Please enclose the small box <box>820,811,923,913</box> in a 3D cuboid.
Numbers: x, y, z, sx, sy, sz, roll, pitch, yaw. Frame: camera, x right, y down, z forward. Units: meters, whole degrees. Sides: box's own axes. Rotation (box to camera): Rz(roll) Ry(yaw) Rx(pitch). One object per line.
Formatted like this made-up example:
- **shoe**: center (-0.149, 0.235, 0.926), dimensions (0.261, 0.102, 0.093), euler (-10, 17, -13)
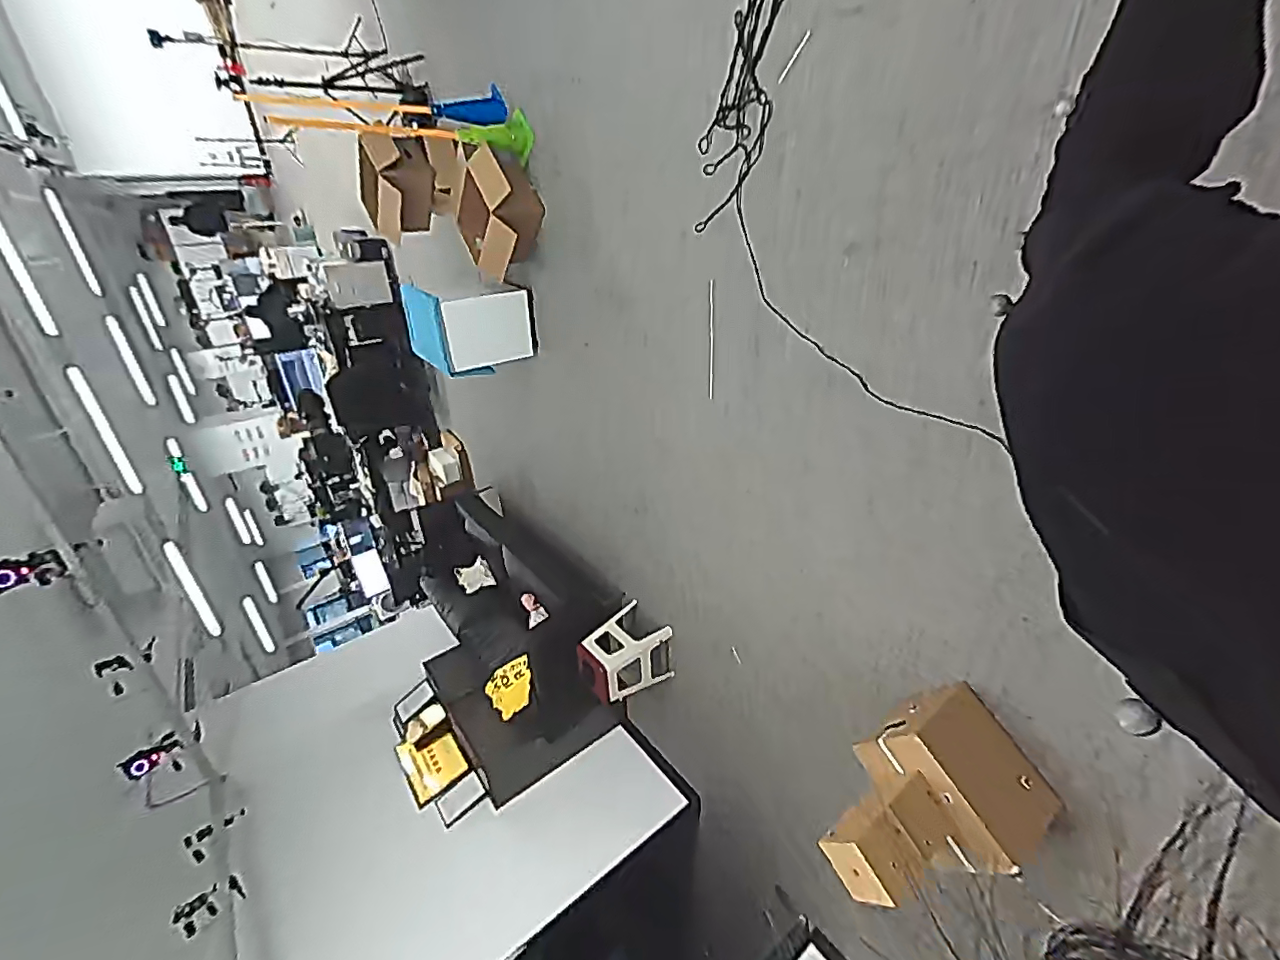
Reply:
- **small box**: center (0.647, 1.049, 1.499), dimensions (0.168, 0.176, 0.179), euler (57, 148, 19)
